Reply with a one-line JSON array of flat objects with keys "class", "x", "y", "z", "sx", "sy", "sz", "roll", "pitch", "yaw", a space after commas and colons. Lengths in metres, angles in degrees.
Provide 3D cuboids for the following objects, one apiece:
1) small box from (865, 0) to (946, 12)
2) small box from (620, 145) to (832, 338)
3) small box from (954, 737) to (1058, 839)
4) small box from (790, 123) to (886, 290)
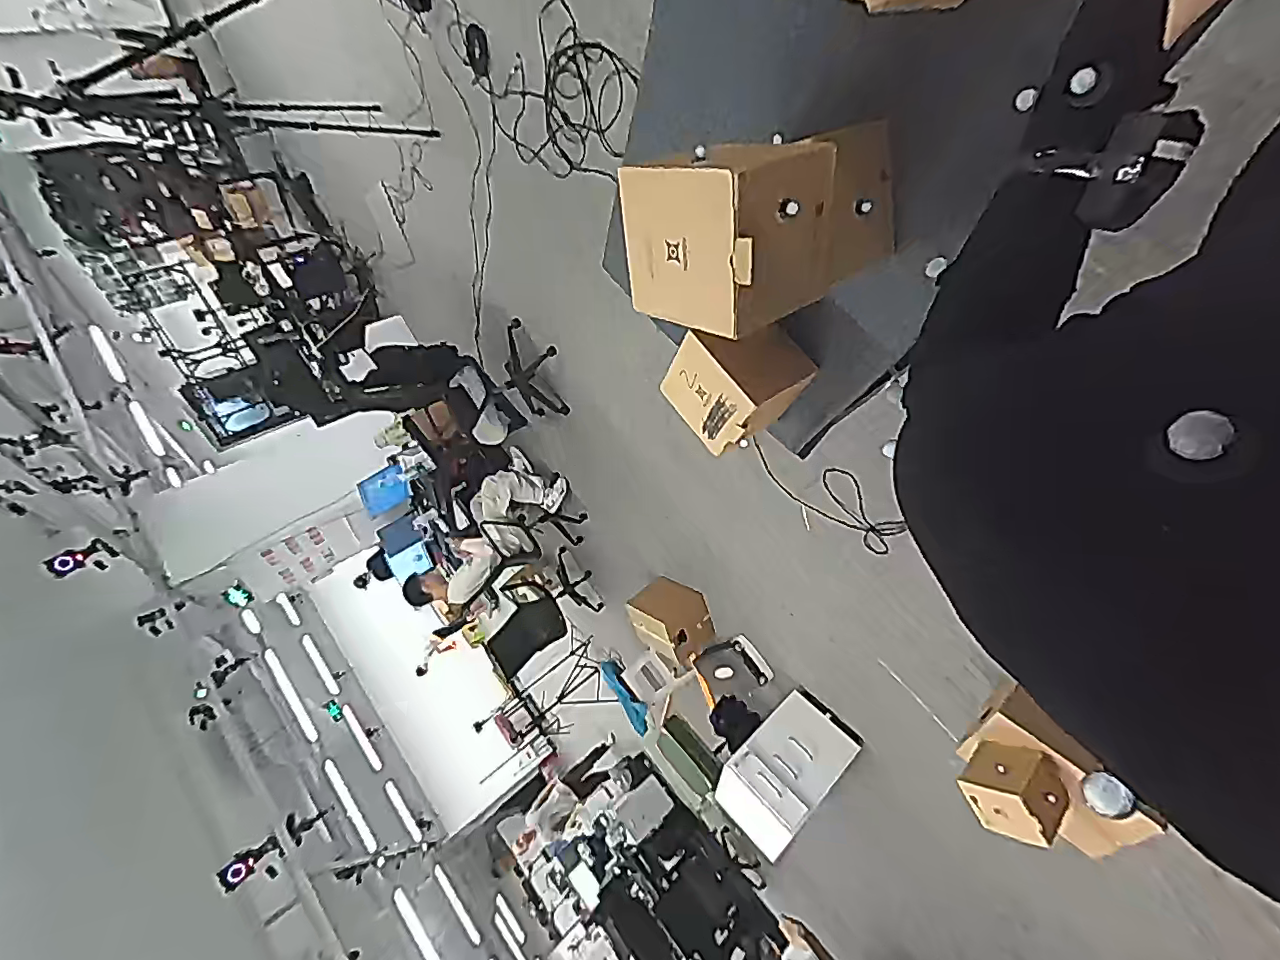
[{"class": "small box", "x": 0.279, "y": -0.548, "z": 0.450, "sx": 0.179, "sy": 0.176, "sz": 0.168, "roll": -11, "pitch": 108, "yaw": 61}, {"class": "small box", "x": 0.102, "y": -0.289, "z": 0.637, "sx": 0.179, "sy": 0.176, "sz": 0.168, "roll": 31, "pitch": 140, "yaw": 41}, {"class": "small box", "x": 1.039, "y": 0.856, "z": 1.525, "sx": 0.168, "sy": 0.176, "sz": 0.179, "roll": 60, "pitch": 149, "yaw": -2}, {"class": "small box", "x": 0.215, "y": -0.360, "z": 0.731, "sx": 0.179, "sy": 0.176, "sz": 0.168, "roll": 19, "pitch": 132, "yaw": 49}]
